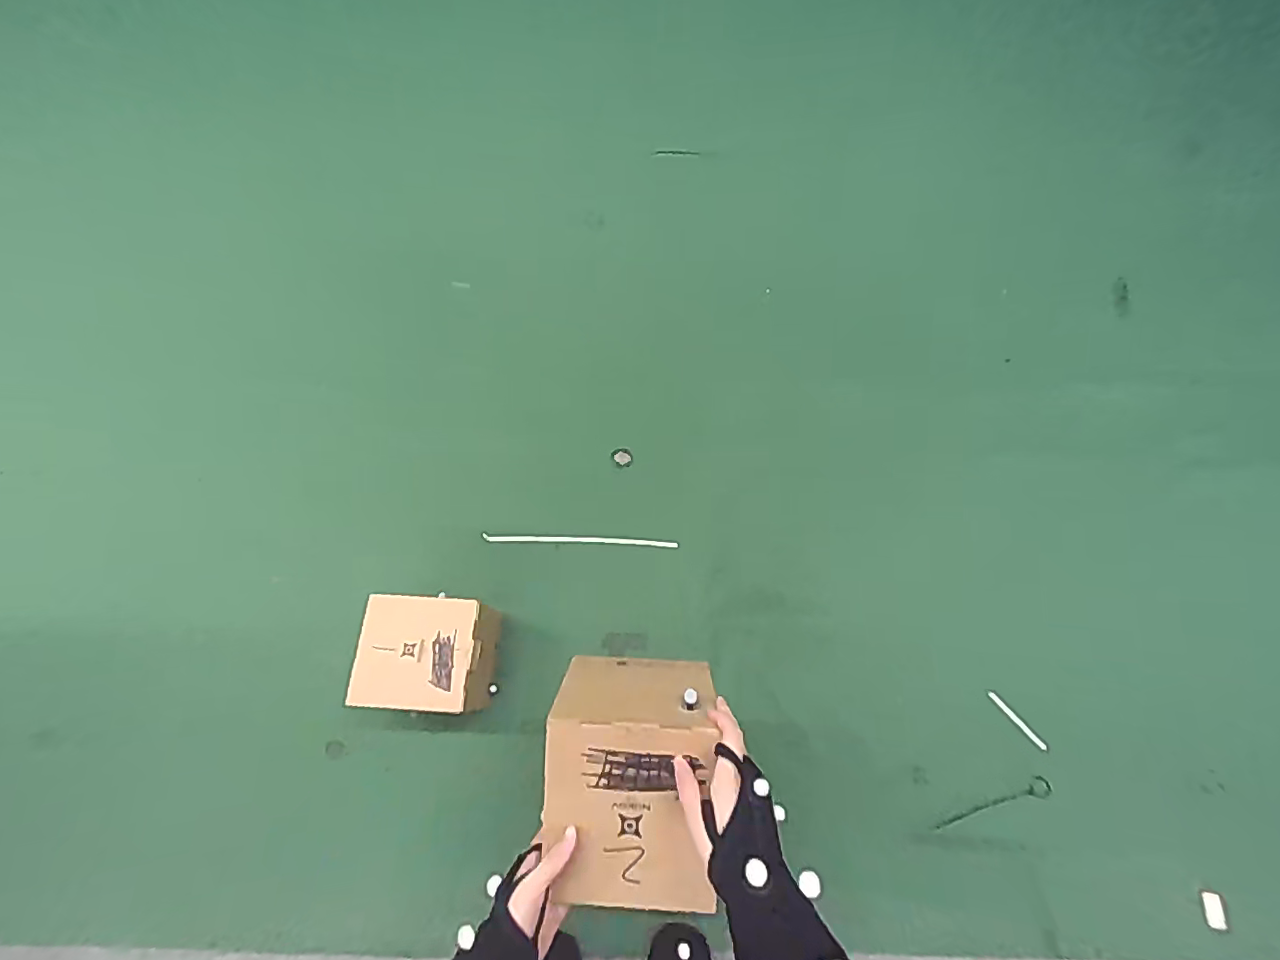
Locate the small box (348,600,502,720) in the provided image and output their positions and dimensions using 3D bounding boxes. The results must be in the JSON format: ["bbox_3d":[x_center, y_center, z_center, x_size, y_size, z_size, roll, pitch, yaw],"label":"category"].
[{"bbox_3d":[-0.339,0.298,0.896,0.179,0.176,0.168,3,69,2],"label":"small box"}]
